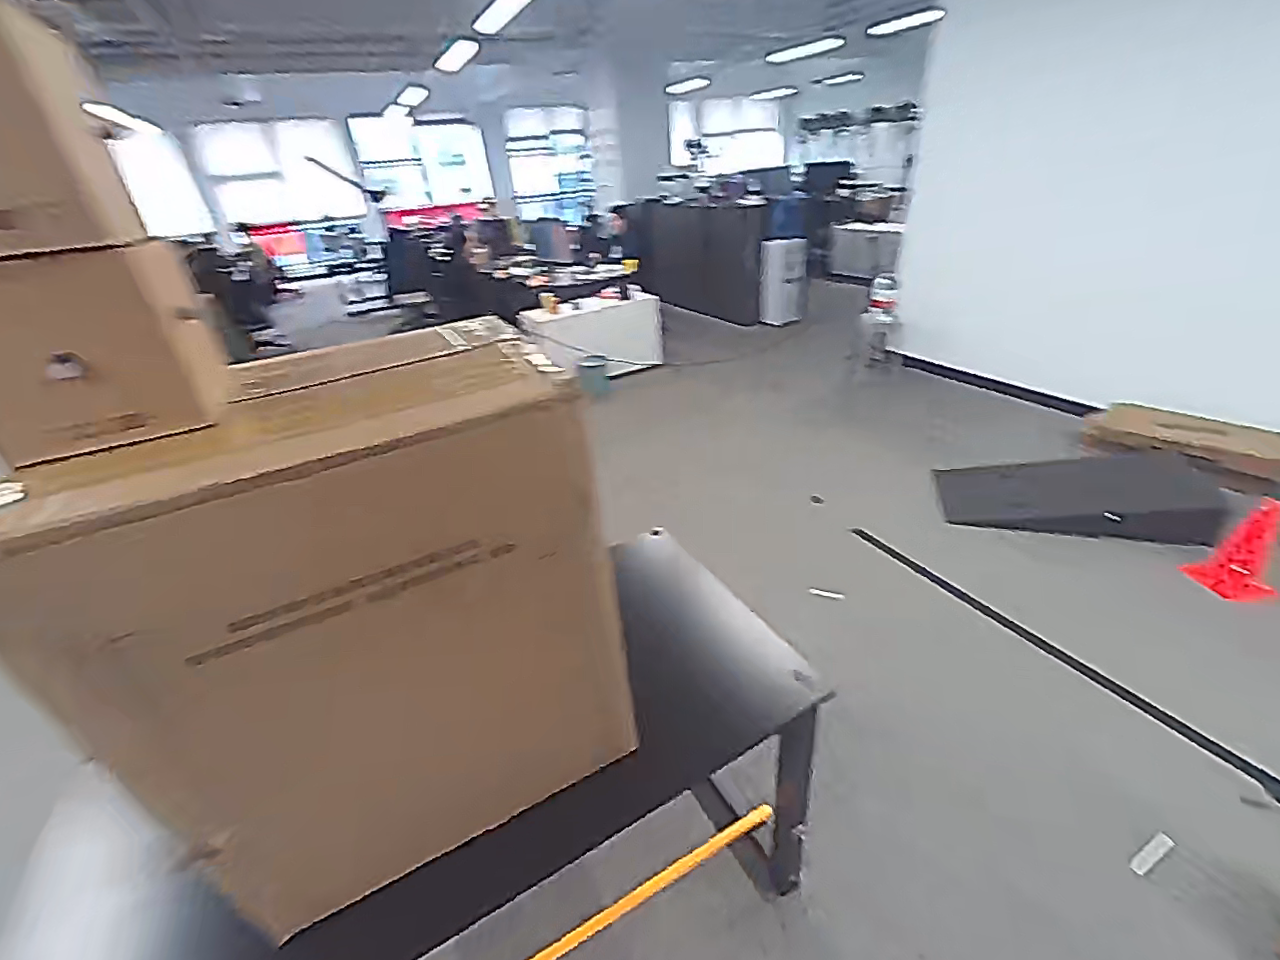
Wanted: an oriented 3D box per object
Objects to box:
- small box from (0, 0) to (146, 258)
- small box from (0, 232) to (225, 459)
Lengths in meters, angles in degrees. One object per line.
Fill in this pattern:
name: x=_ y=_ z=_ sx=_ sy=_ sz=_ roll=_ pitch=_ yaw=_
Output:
small box: x=-0.546 y=-0.270 z=0.432 sx=0.168 sy=0.176 sz=0.179 roll=-21 pitch=33 yaw=-24
small box: x=-0.538 y=-0.134 z=0.524 sx=0.168 sy=0.176 sz=0.179 roll=-19 pitch=33 yaw=-24
